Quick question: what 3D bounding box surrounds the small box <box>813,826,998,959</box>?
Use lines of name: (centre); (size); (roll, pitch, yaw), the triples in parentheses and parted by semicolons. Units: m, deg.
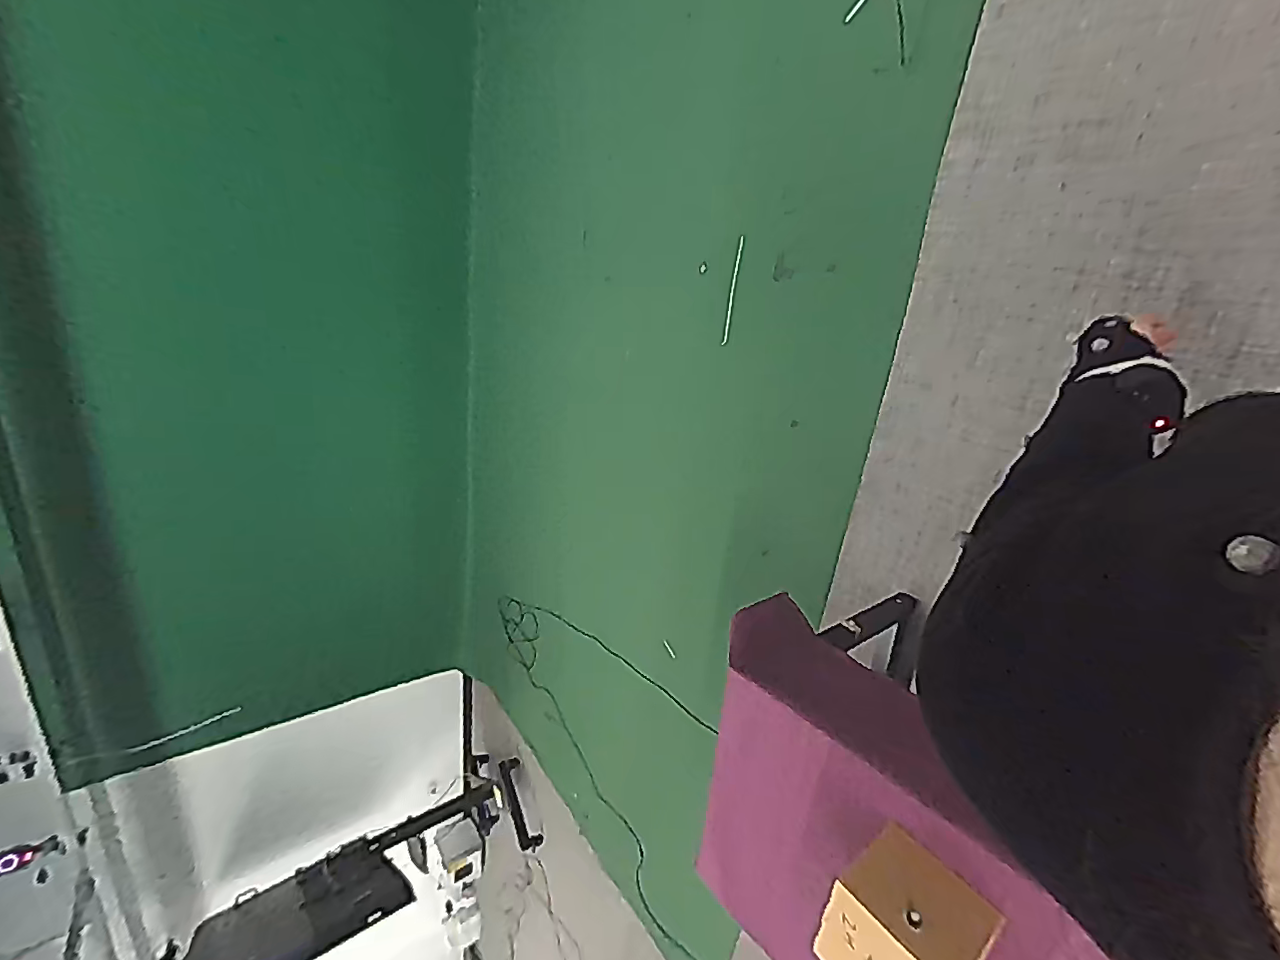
small box: (0.399, 0.679, 0.815); (0.179, 0.176, 0.168); (30, 119, 46)
